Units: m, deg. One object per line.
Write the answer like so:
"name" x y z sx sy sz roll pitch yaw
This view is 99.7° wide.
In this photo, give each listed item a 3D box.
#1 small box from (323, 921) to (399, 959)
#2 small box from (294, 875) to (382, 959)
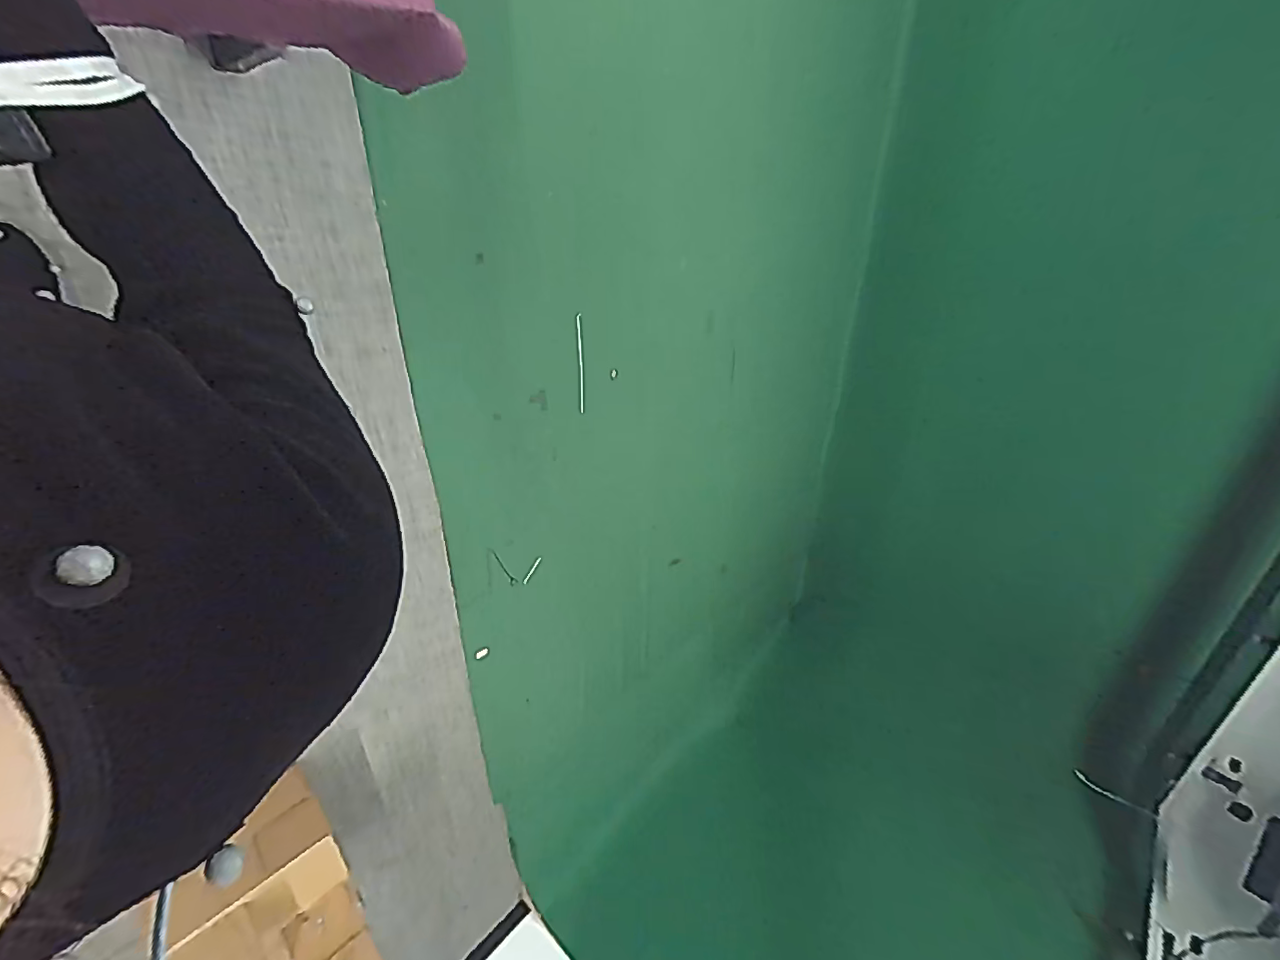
"small box" -0.742 1.347 1.450 0.168 0.176 0.179 -26 131 -43
"small box" -0.859 1.296 1.555 0.168 0.176 0.179 -28 133 -42
